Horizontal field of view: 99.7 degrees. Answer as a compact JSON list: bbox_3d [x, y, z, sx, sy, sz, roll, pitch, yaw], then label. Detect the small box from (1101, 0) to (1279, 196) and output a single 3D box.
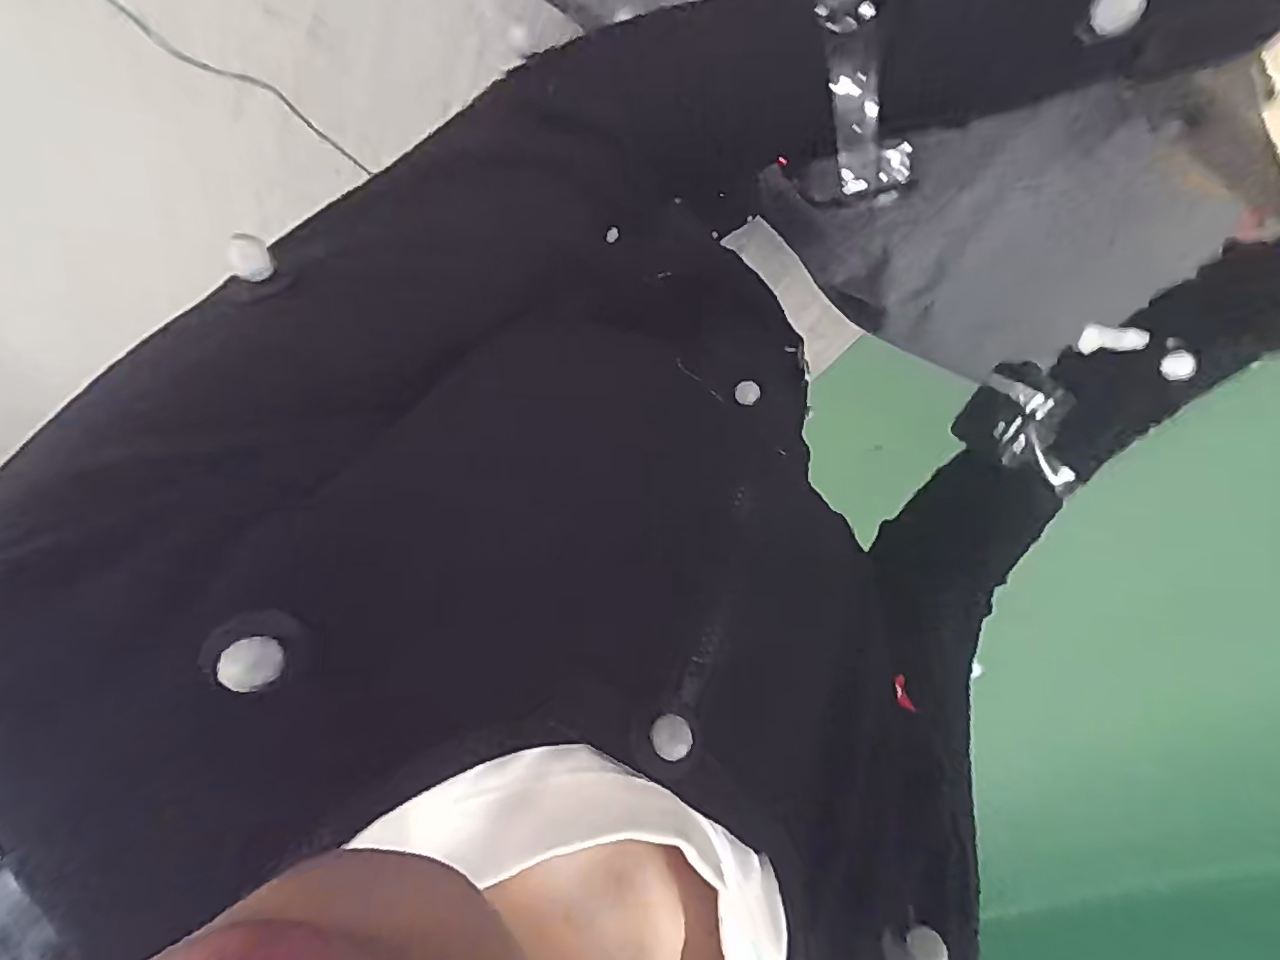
[{"bbox_3d":[0.406,-0.290,0.299,0.168,0.176,0.179,38,128,-20],"label":"small box"}]
